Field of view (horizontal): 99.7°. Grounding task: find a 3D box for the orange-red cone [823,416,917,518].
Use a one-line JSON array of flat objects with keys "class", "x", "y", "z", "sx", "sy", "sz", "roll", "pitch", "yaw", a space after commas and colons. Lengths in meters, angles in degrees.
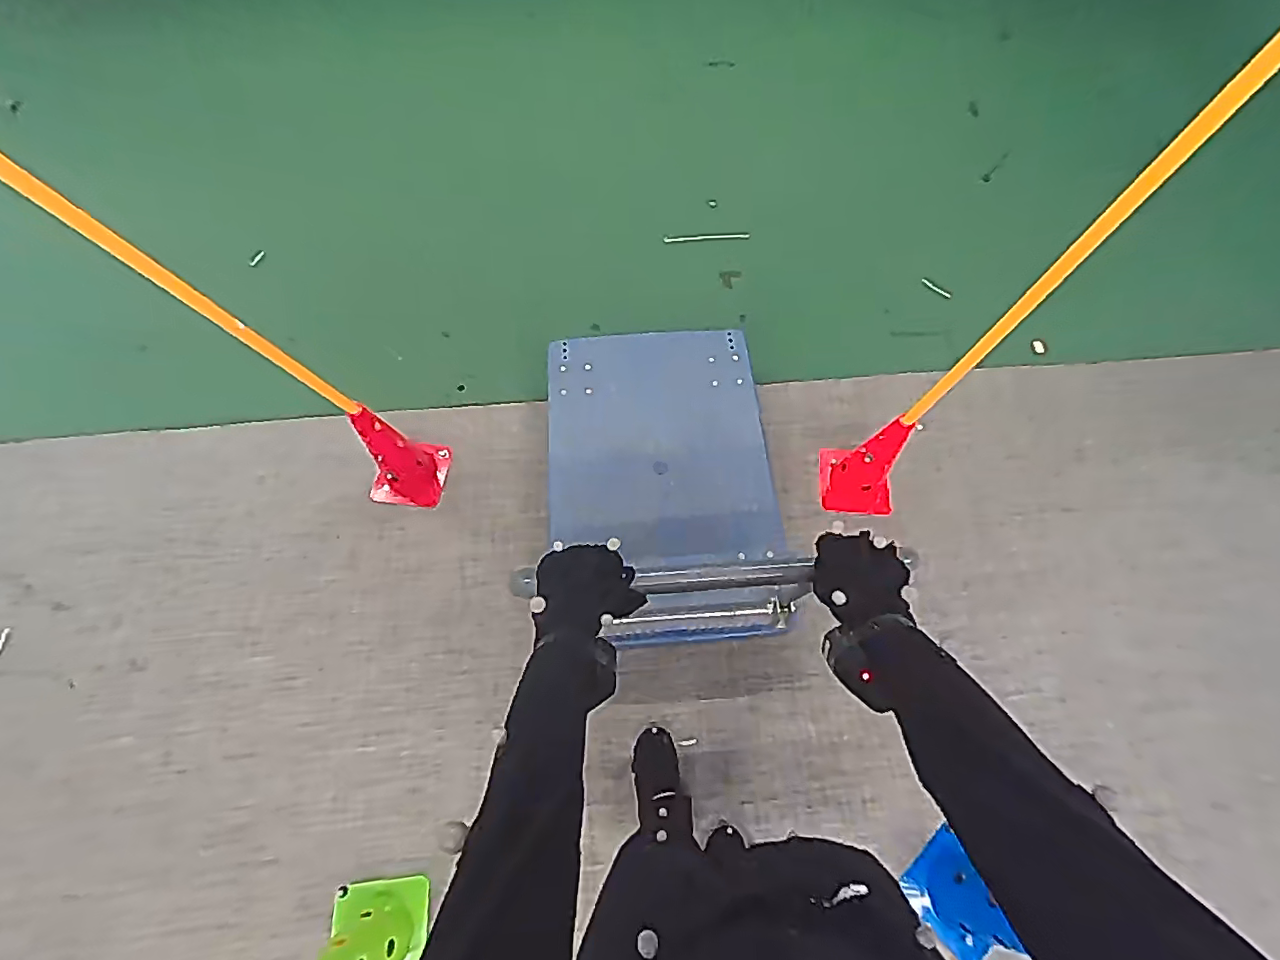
[{"class": "orange-red cone", "x": 0.629, "y": -0.059, "z": 1.415, "sx": 0.198, "sy": 0.360, "sz": 0.199, "roll": 5, "pitch": 66, "yaw": 3}]
